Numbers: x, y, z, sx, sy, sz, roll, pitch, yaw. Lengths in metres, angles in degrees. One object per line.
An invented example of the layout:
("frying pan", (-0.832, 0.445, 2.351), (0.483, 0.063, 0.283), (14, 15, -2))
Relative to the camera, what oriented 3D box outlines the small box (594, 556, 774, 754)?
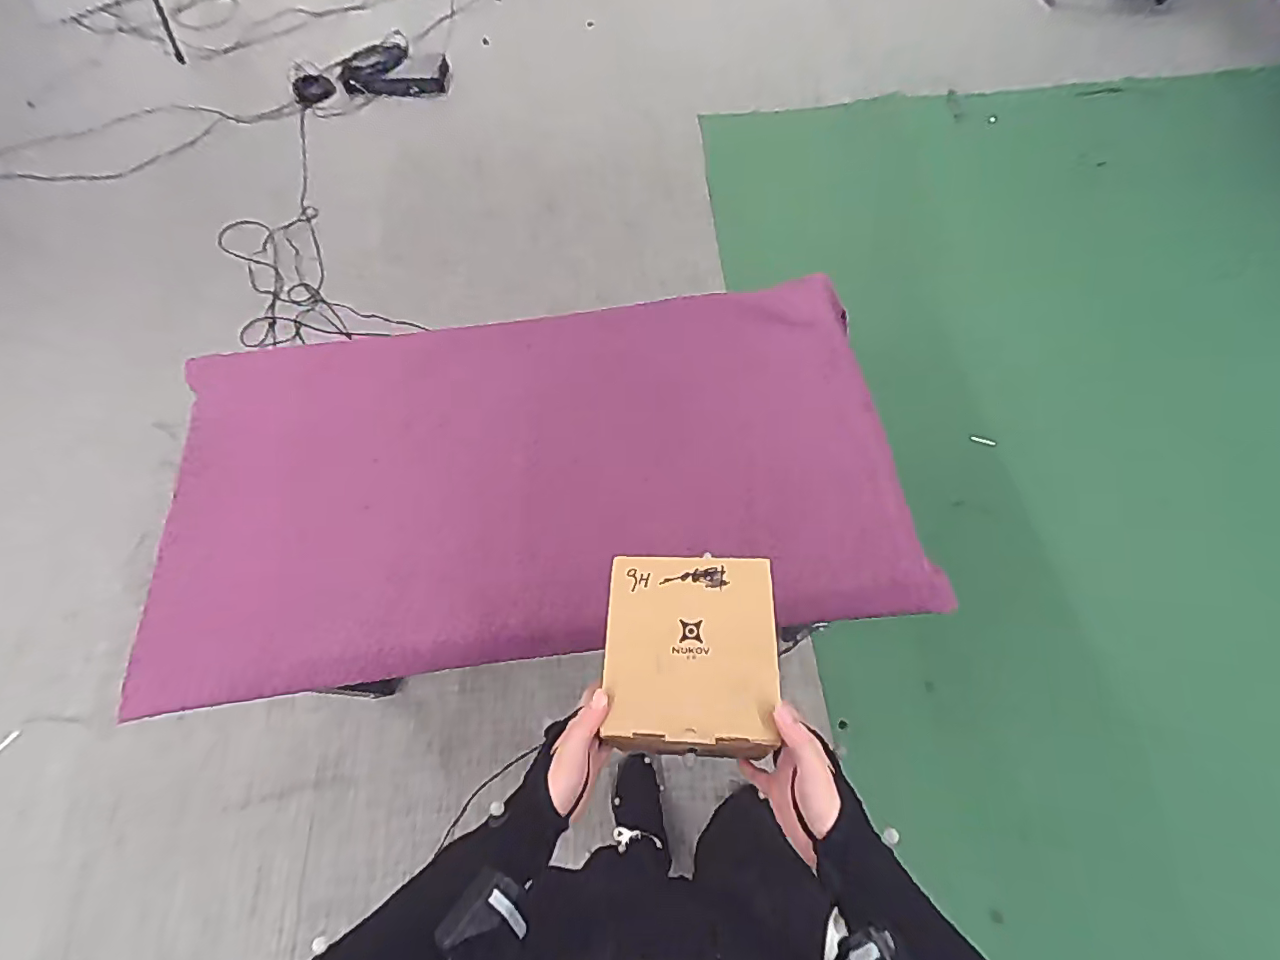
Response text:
("small box", (0.052, 0.196, 0.591), (0.168, 0.176, 0.179), (0, 59, 6))
